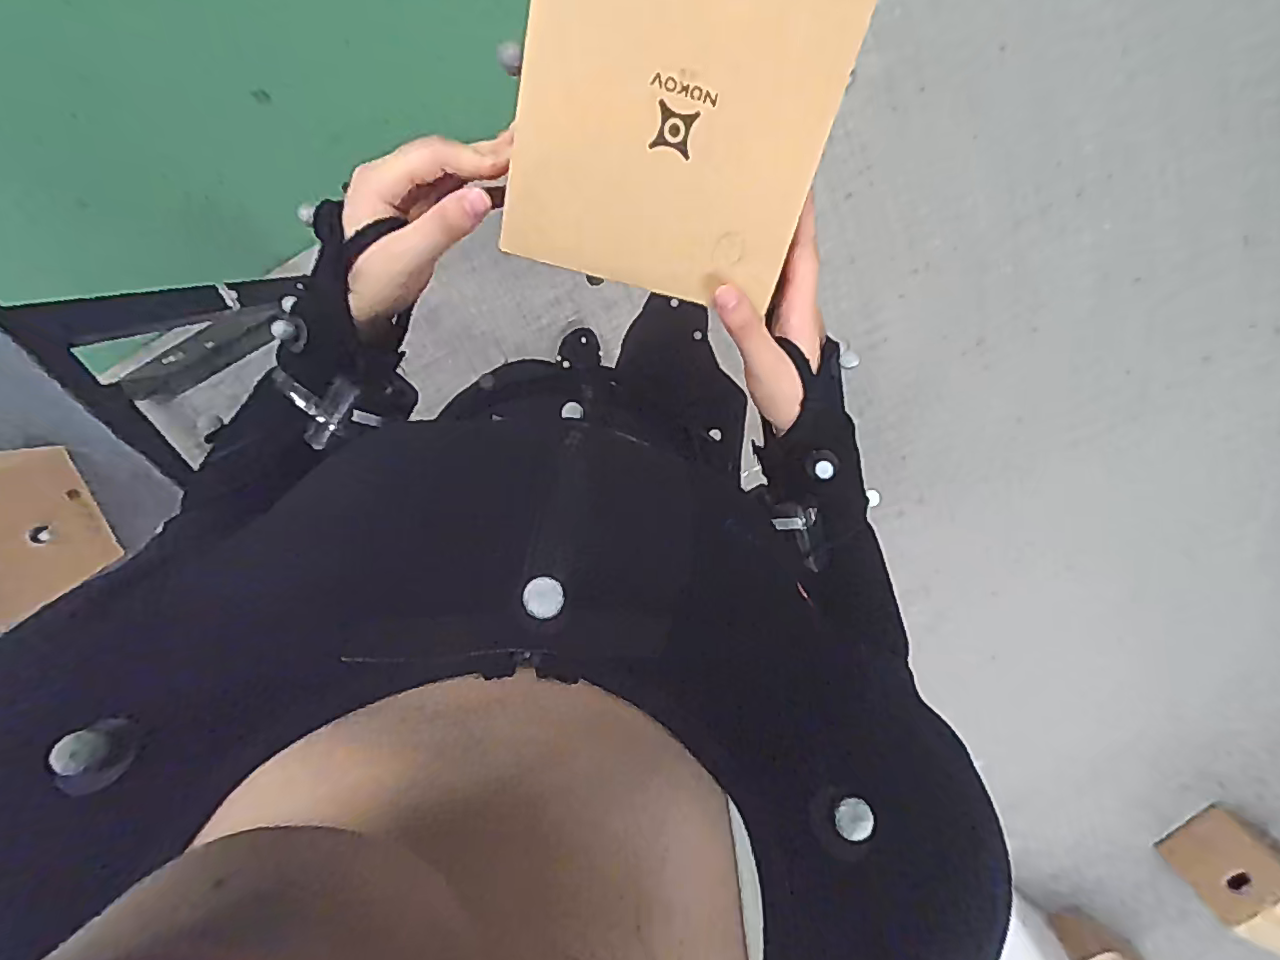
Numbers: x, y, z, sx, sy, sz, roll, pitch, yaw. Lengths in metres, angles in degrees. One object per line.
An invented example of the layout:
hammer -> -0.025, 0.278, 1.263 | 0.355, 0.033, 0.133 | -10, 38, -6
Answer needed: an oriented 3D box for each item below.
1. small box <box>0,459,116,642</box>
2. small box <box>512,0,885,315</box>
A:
small box -> -0.798, 0.081, 0.649 | 0.179, 0.176, 0.168 | -5, 113, 3
small box -> 0.019, -0.228, 0.354 | 0.168, 0.176, 0.179 | 9, 117, -11
